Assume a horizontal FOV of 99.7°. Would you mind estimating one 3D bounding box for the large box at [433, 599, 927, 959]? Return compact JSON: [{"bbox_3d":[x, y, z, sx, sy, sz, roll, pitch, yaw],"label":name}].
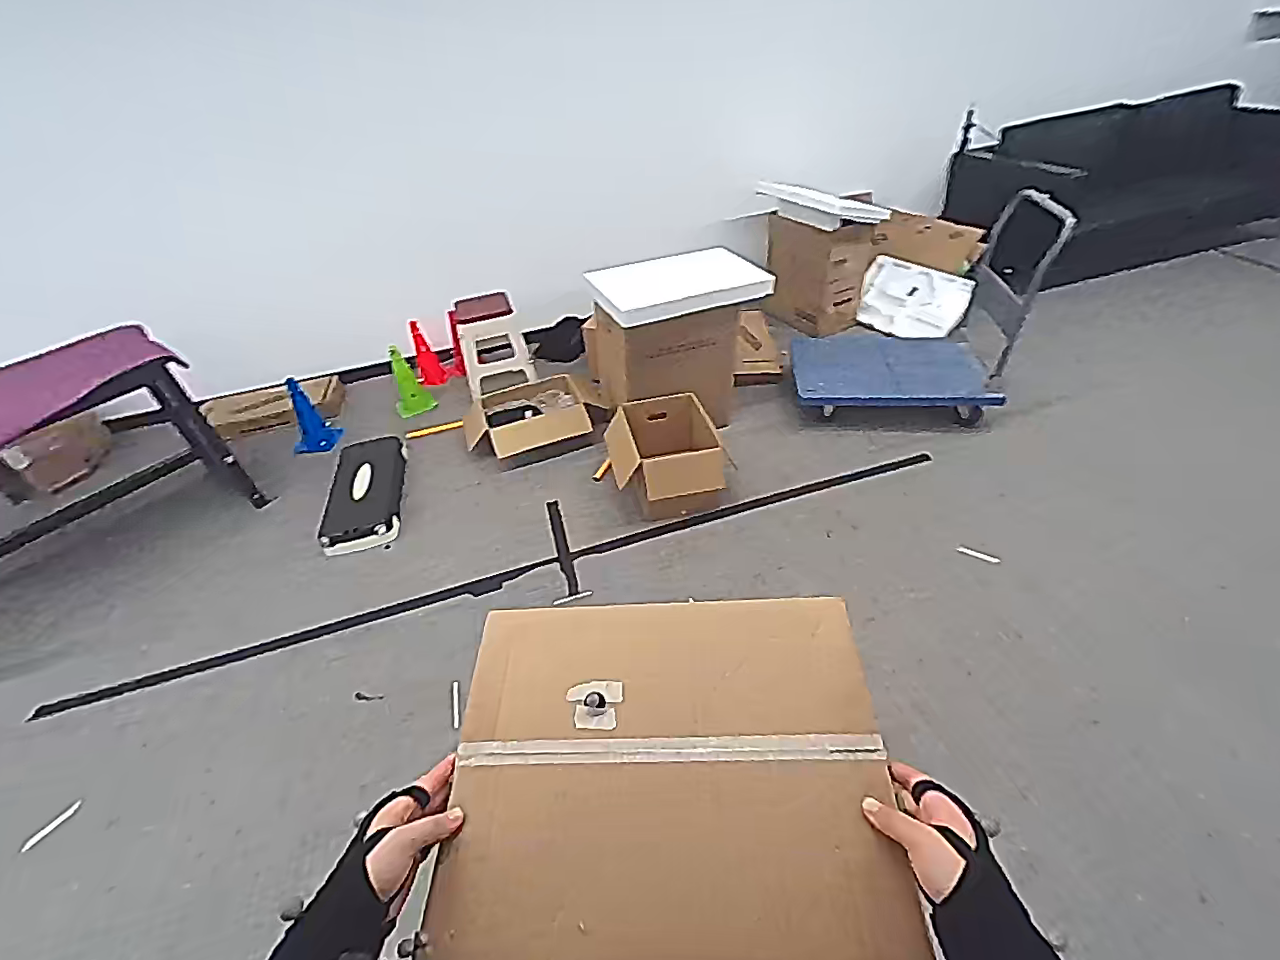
[{"bbox_3d":[0.043,0.365,0.637,0.408,0.320,0.320,-5,47,5],"label":"large box"}]
